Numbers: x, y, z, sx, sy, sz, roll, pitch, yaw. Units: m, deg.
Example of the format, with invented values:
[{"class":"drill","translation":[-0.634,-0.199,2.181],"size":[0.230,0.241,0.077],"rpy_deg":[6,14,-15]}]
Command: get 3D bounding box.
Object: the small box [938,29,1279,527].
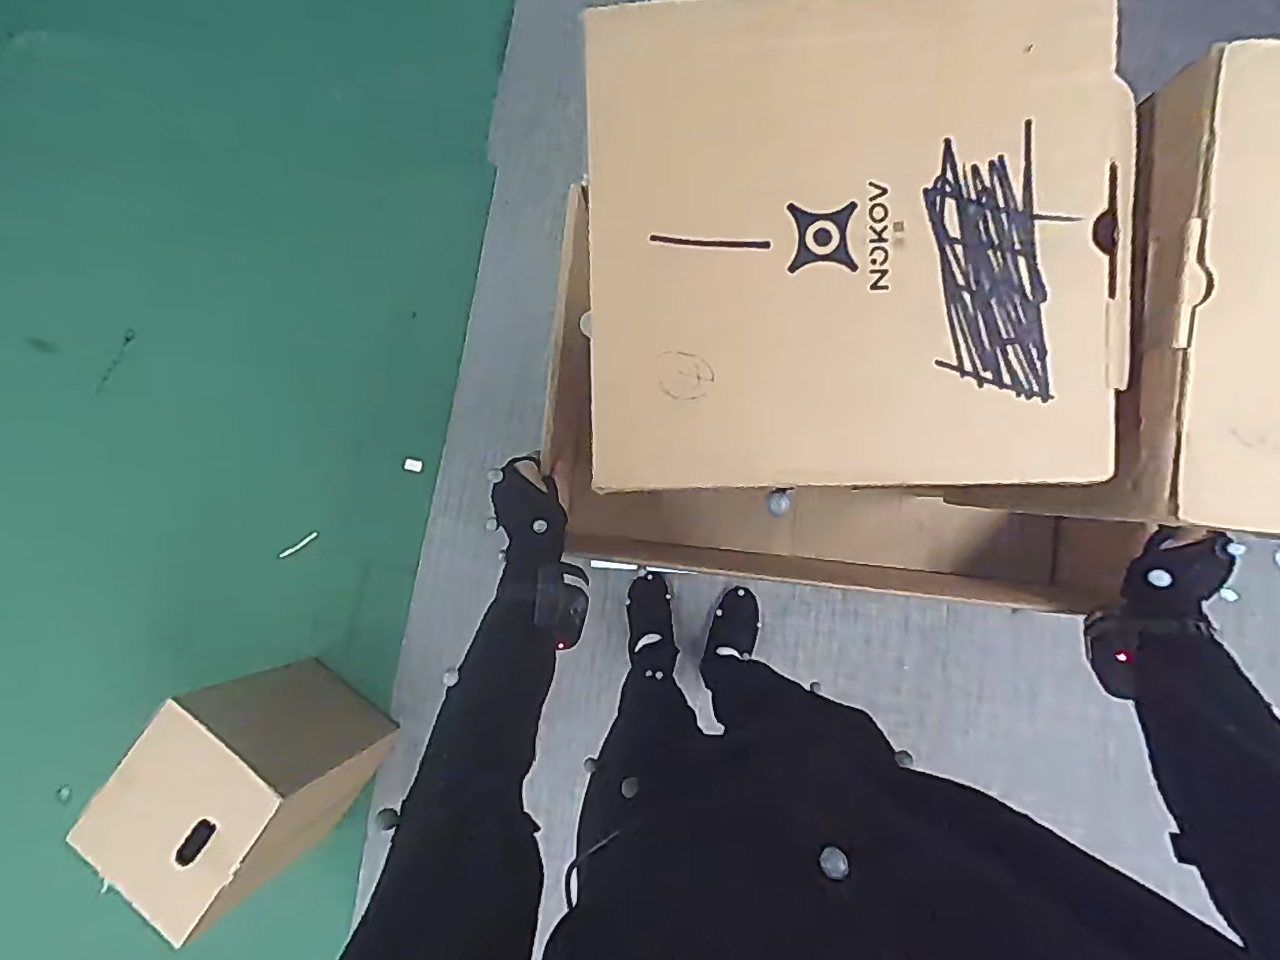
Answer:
[{"class":"small box","translation":[0.272,-0.066,0.260],"size":[0.179,0.176,0.168],"rpy_deg":[6,91,5]}]
